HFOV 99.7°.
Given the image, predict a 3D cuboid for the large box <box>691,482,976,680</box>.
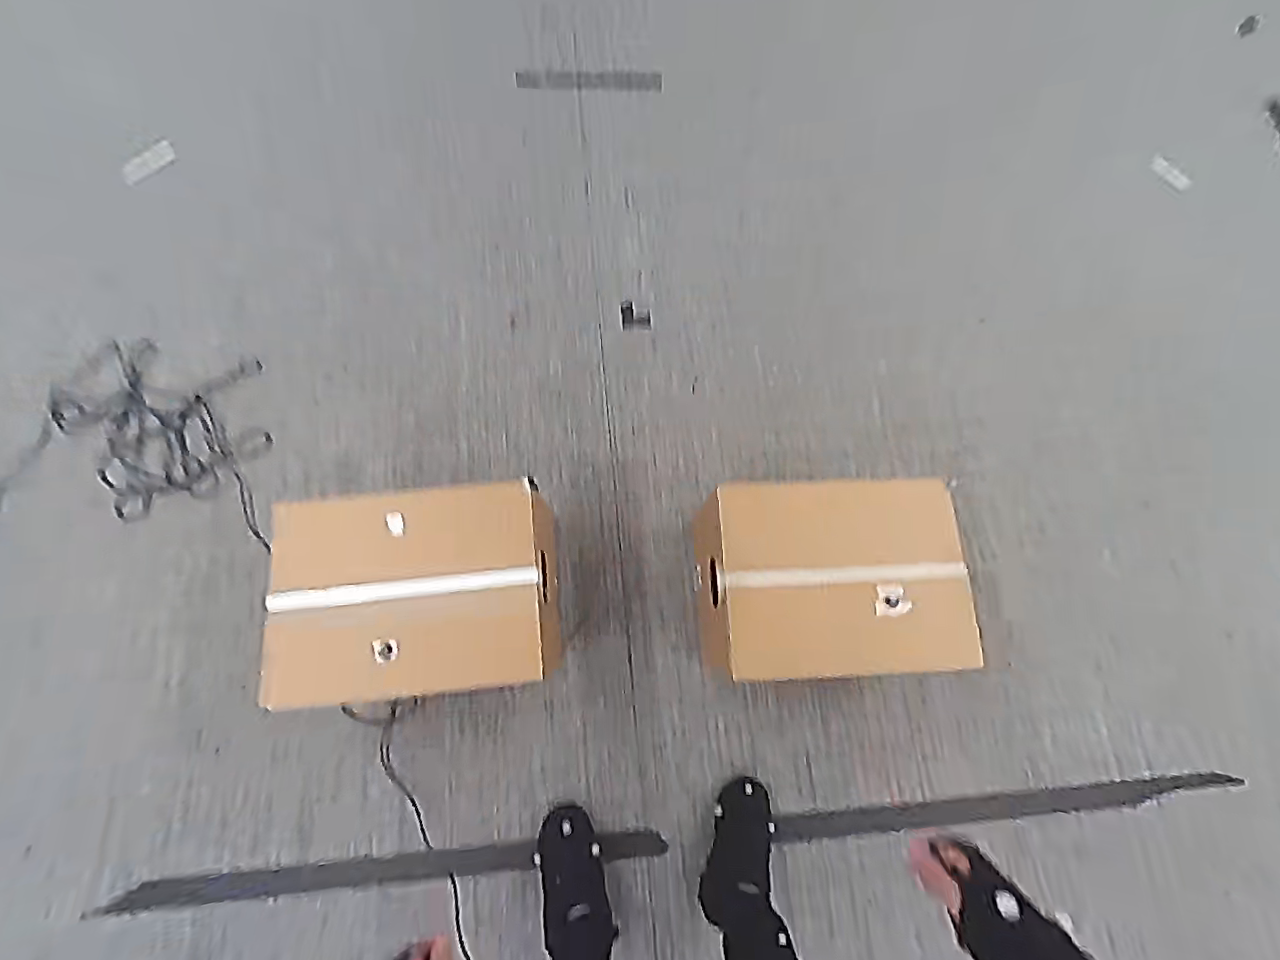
[{"bbox_3d":[0.327,0.197,1.037,0.408,0.320,0.320,-1,75,-4],"label":"large box"}]
